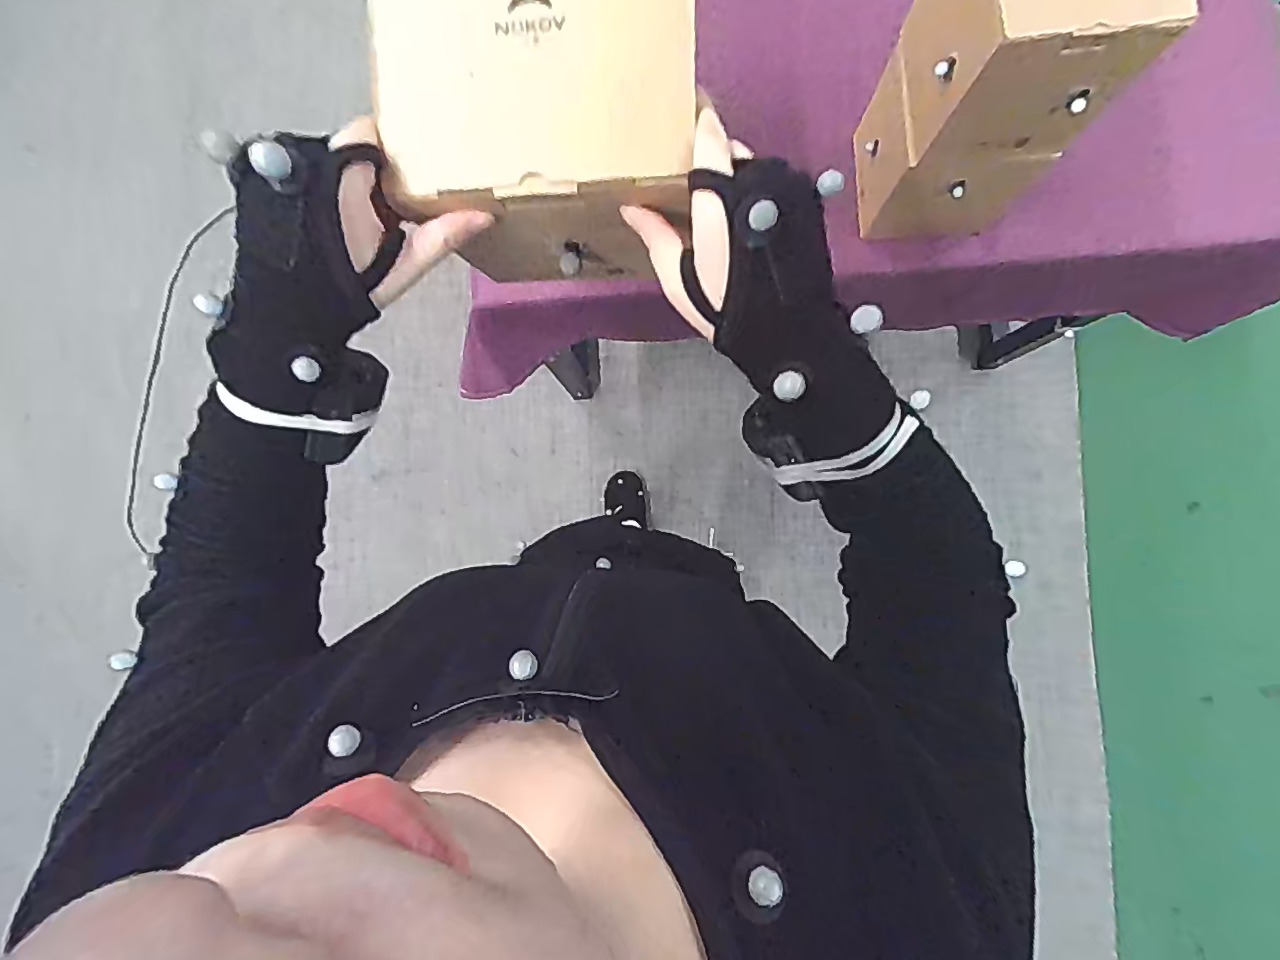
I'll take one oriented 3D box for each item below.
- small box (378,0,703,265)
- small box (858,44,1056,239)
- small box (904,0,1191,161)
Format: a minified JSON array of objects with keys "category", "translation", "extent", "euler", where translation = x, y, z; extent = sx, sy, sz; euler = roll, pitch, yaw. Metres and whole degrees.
[{"category":"small box","translation":[-0.044,-0.245,0.347],"extent":[0.168,0.176,0.179],"euler":[0,97,5]},{"category":"small box","translation":[0.403,-0.441,0.720],"extent":[0.179,0.176,0.168],"euler":[-1,86,3]},{"category":"small box","translation":[0.395,-0.459,0.558],"extent":[0.168,0.176,0.179],"euler":[-4,85,2]}]
